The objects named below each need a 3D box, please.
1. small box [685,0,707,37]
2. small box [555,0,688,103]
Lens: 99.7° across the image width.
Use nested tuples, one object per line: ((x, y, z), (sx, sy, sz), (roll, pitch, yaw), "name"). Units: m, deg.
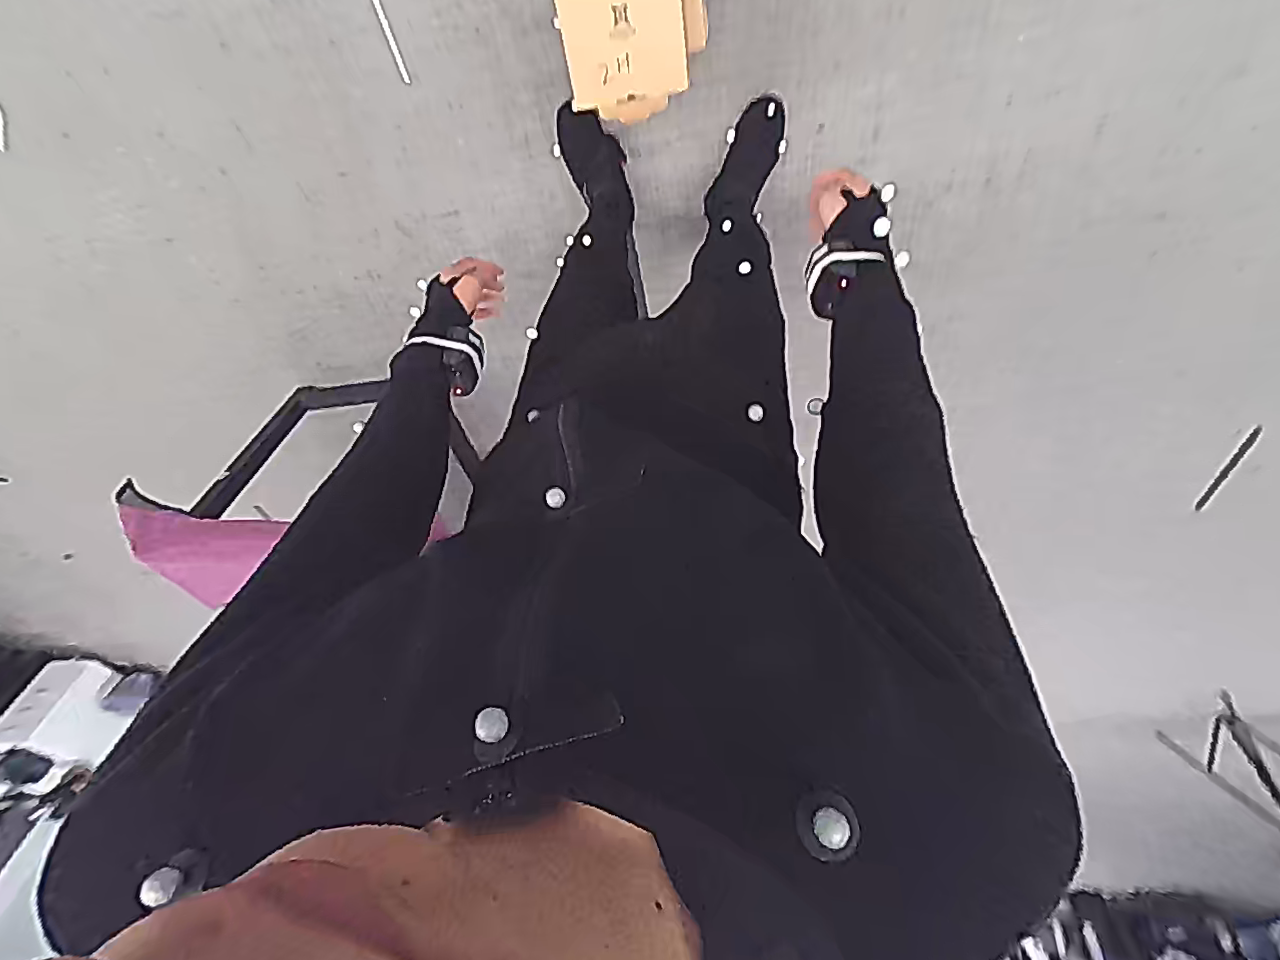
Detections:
((0.029, -0.909, 0.975), (0.168, 0.176, 0.179), (-7, 135, 13), "small box")
((-0.021, -0.663, 0.760), (0.168, 0.176, 0.179), (-3, 136, 9), "small box")
